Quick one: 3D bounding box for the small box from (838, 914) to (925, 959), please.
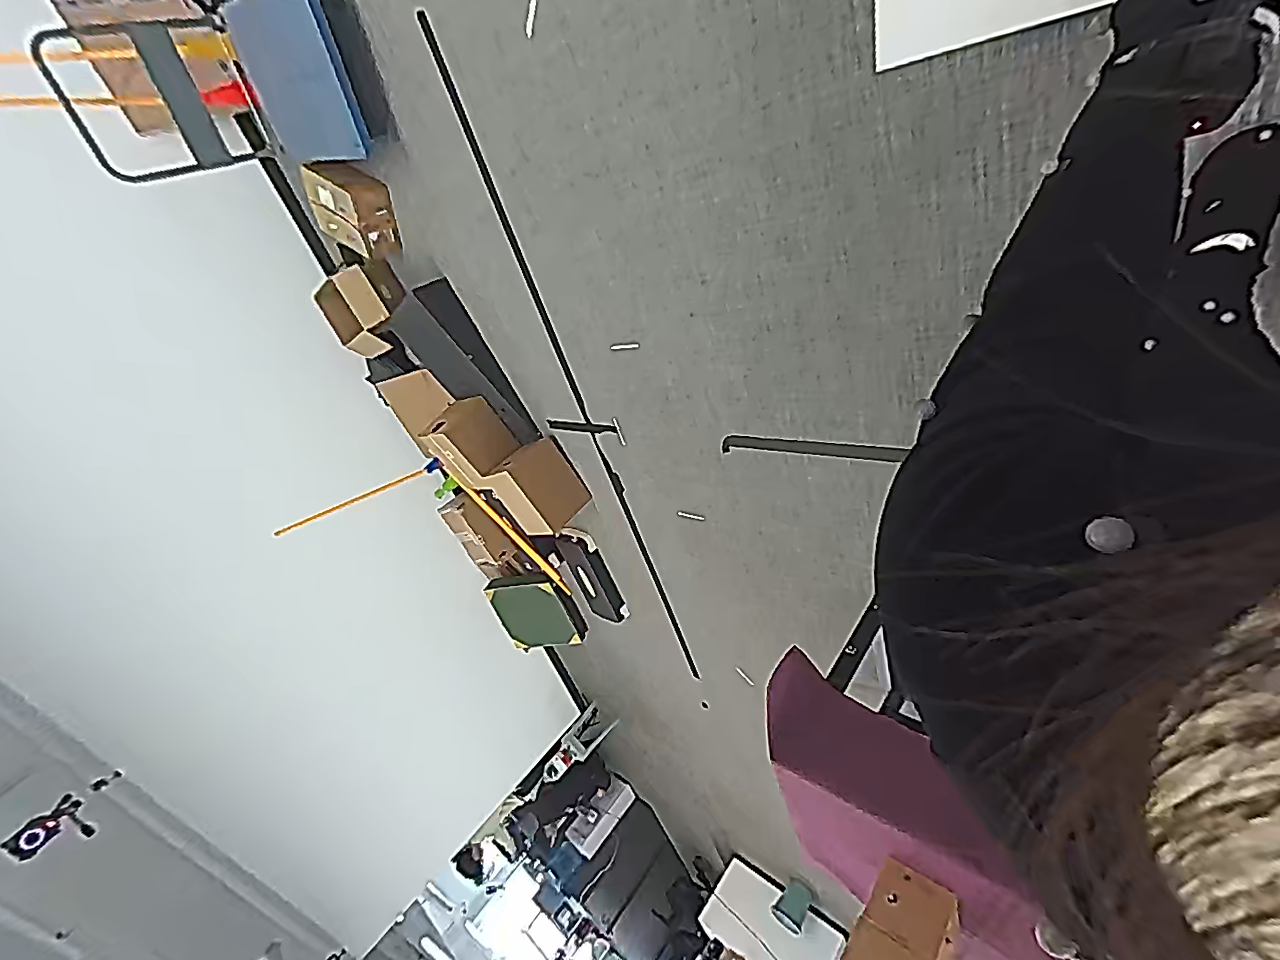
[{"bbox_3d":[0.563,1.170,1.252,0.179,0.176,0.168,10,130,45],"label":"small box"}]

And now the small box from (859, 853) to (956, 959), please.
[{"bbox_3d":[0.668,1.082,1.343,0.168,0.176,0.179,10,131,45],"label":"small box"}]
